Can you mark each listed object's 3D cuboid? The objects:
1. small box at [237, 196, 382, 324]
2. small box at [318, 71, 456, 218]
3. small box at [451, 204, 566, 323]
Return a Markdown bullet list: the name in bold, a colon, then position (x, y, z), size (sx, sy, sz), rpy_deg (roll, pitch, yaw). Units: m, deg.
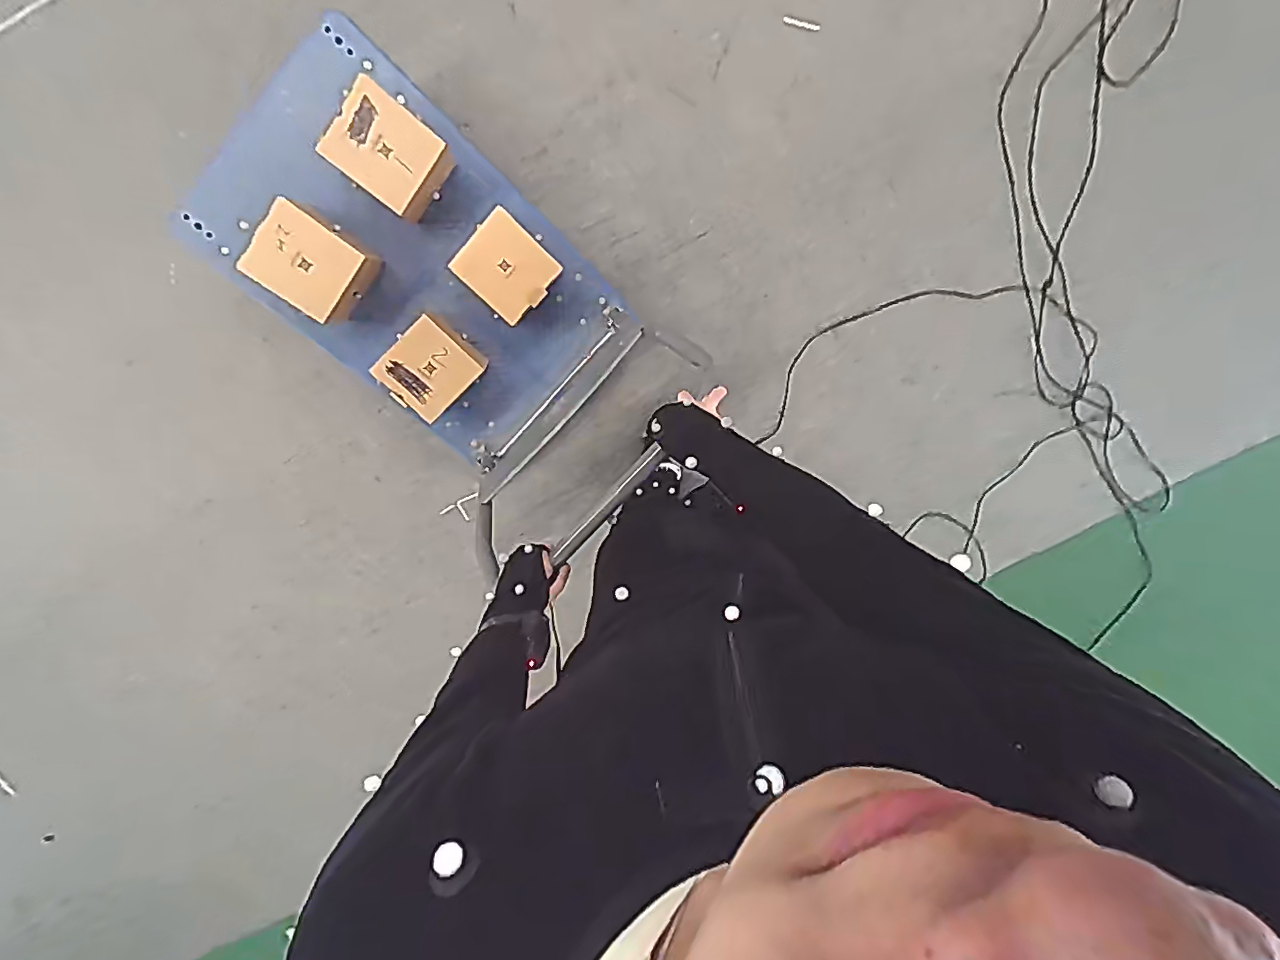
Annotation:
- **small box**: position (-0.667, -0.449, 1.118), size (0.179, 0.176, 0.168), rpy_deg (35, 98, -21)
- **small box**: position (-0.493, -0.652, 1.082), size (0.179, 0.176, 0.168), rpy_deg (35, 100, -22)
- **small box**: position (-0.287, -0.469, 1.193), size (0.179, 0.176, 0.168), rpy_deg (41, 97, -22)
